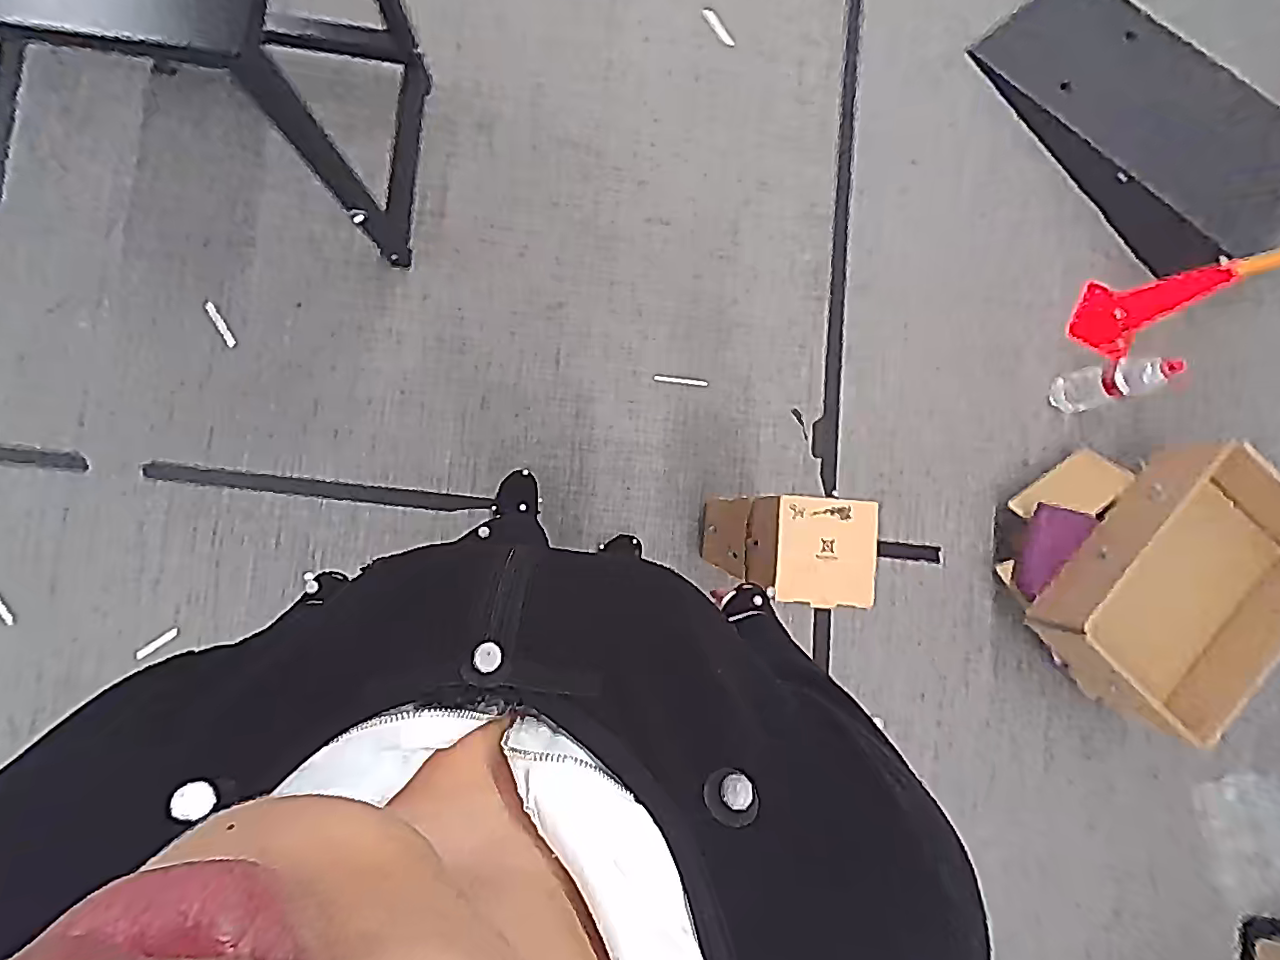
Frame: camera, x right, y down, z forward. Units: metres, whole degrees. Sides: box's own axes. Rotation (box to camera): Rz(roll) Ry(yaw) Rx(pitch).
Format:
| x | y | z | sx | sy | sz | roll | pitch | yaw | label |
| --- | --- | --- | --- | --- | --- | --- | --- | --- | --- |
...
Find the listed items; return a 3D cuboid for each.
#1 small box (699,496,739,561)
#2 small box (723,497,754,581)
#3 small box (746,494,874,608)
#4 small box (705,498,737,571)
| x | y | z | sx | sy | sz | roll | pitch | yaw | label |
| --- | --- | --- | --- | --- | --- | --- | --- | --- | --- |
| 0.257 | 0.142 | 1.453 | 0.168 | 0.176 | 0.179 | 6 | 86 | -3 | small box |
| 0.278 | 0.126 | 1.128 | 0.179 | 0.176 | 0.168 | 5 | 87 | -5 | small box |
| 0.293 | 0.119 | 0.965 | 0.168 | 0.176 | 0.179 | 5 | 88 | -4 | small box |
| 0.264 | 0.134 | 1.289 | 0.179 | 0.176 | 0.168 | 6 | 86 | -3 | small box |
